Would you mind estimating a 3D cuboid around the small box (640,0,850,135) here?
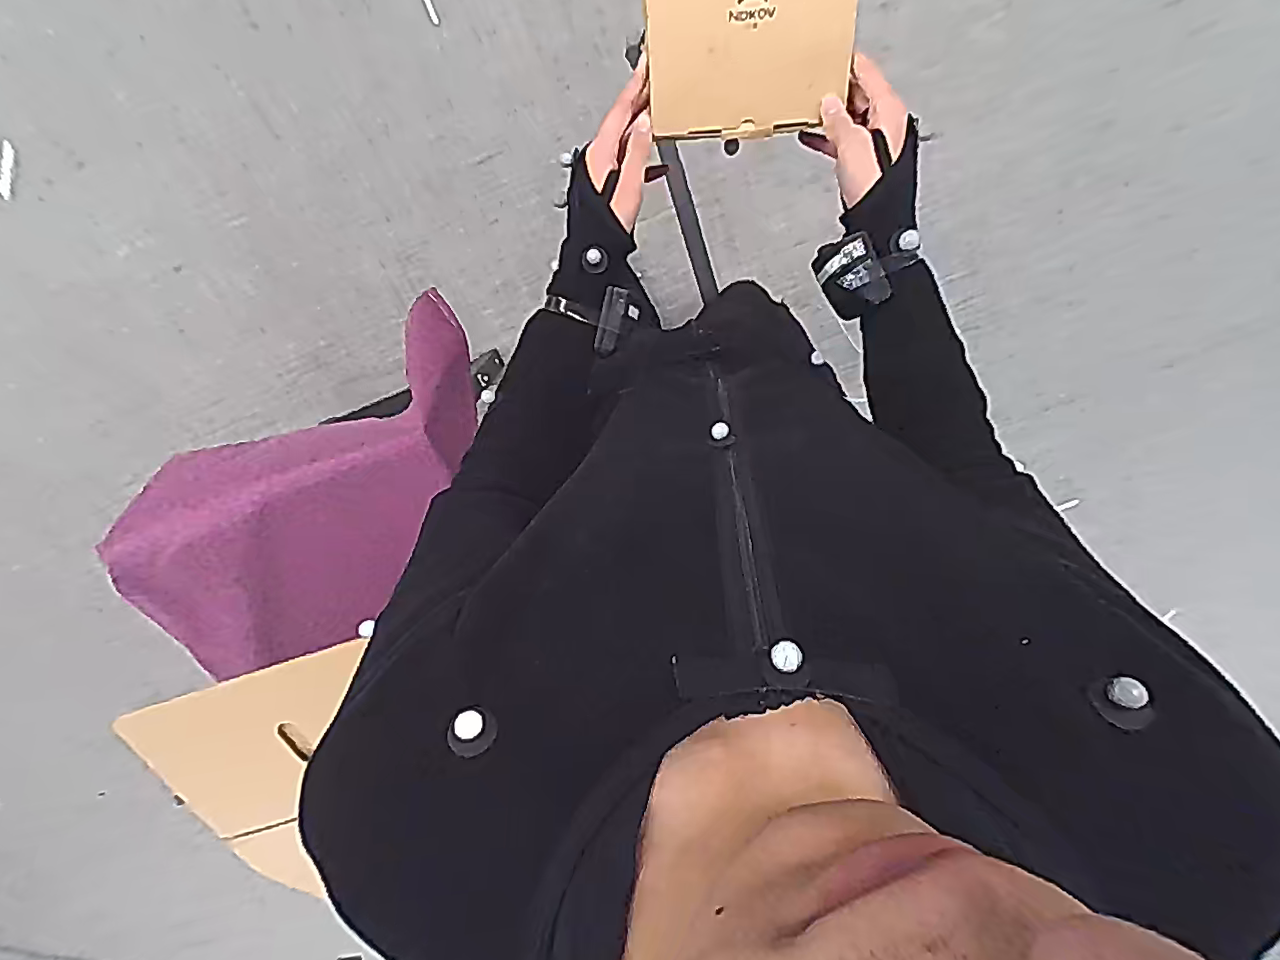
[{"bbox_3d":[0.084,-0.421,0.488,0.168,0.176,0.179,-3,122,2],"label":"small box"}]
